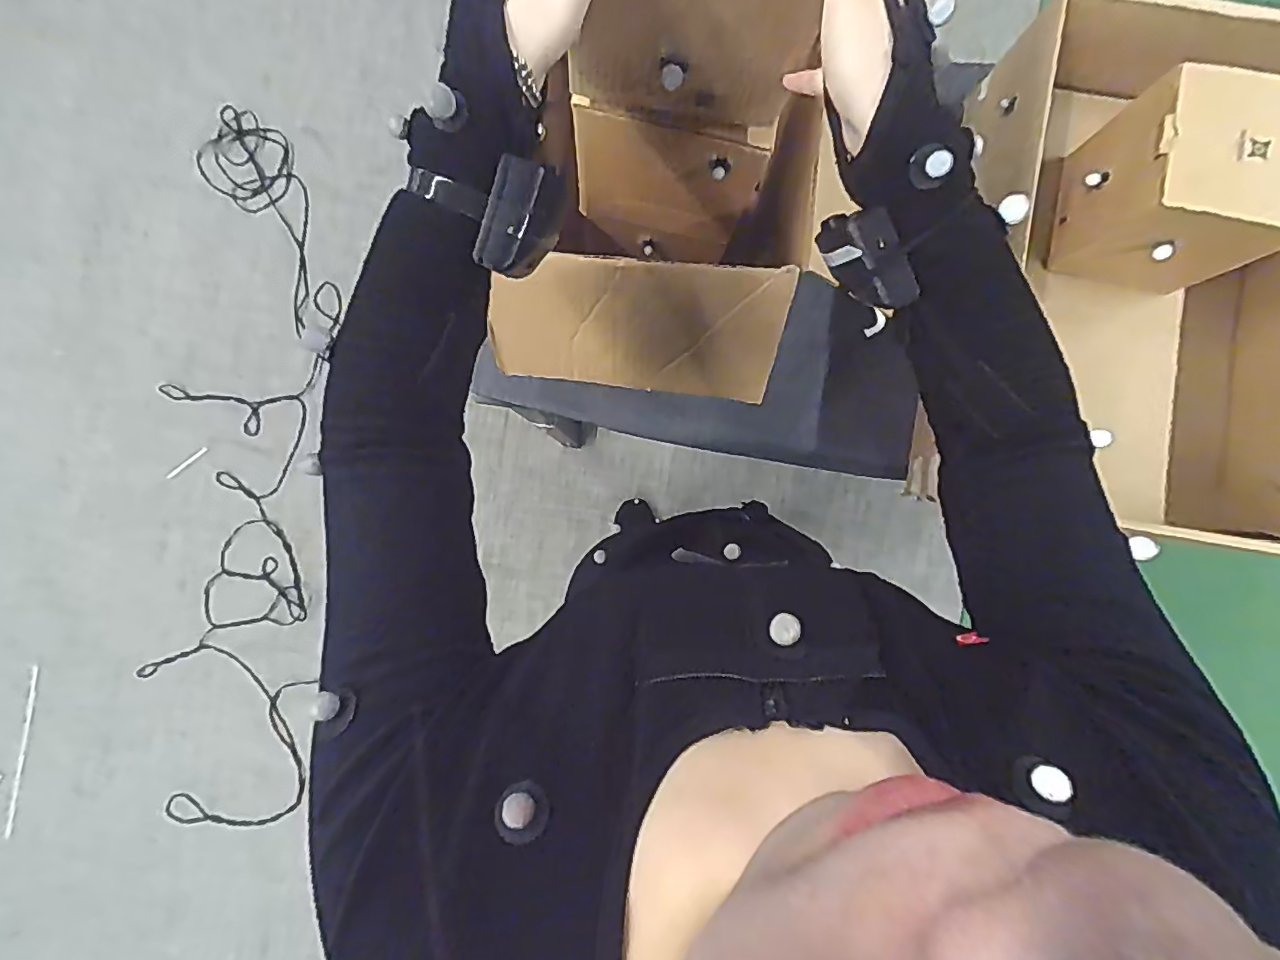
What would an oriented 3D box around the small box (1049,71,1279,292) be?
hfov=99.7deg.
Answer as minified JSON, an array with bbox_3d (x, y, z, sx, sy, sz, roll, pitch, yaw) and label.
[{"bbox_3d":[0.654,-0.350,0.665,0.179,0.176,0.168,11,88,3],"label":"small box"}]

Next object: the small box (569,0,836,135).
[{"bbox_3d":[0.043,-0.376,0.357,0.168,0.176,0.179,8,90,-4],"label":"small box"}]
